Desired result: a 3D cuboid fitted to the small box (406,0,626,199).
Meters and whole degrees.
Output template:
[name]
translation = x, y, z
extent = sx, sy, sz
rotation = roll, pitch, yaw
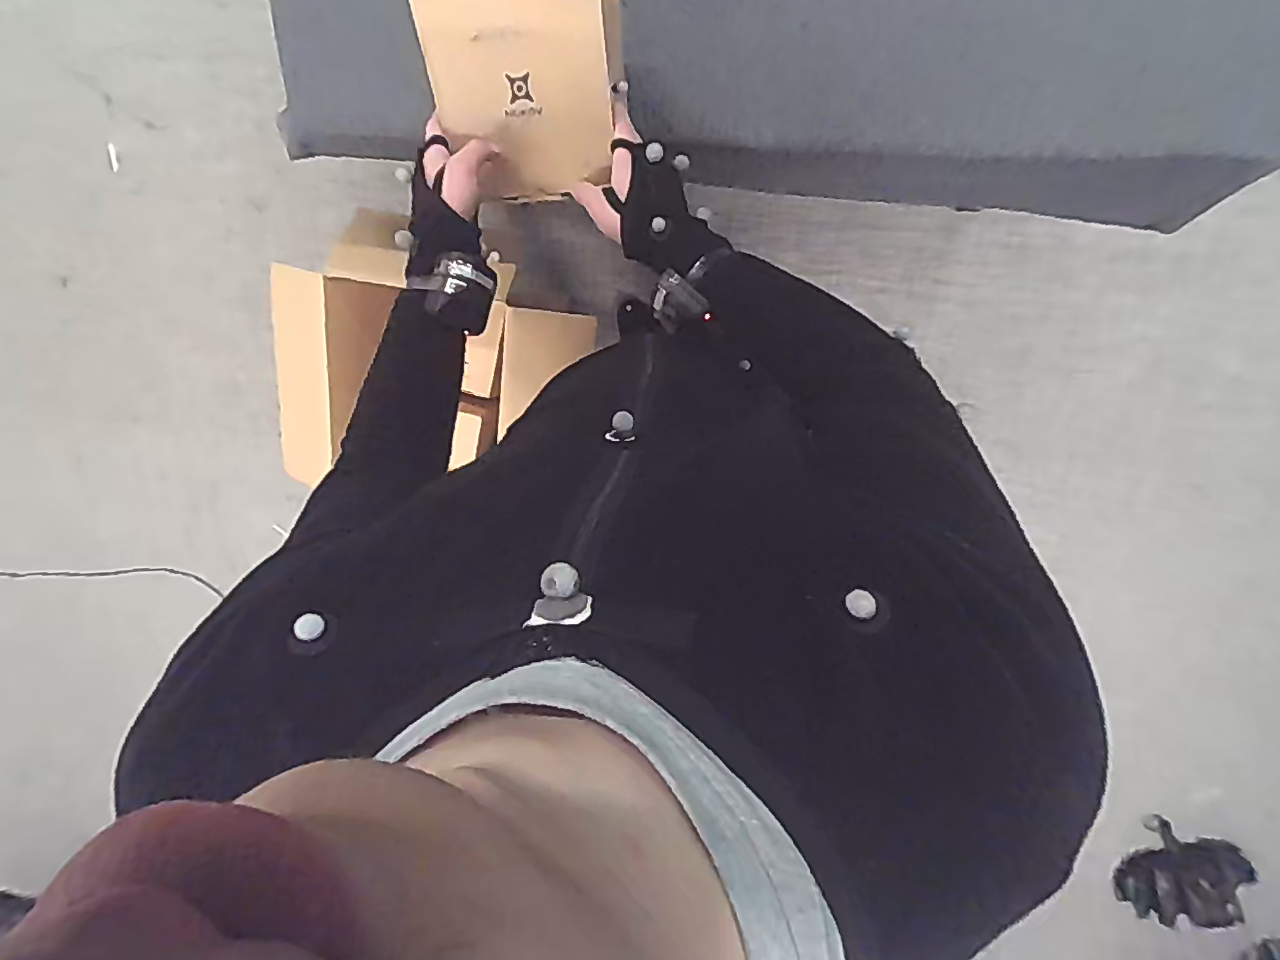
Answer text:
[small box]
translation = -0.107, -0.407, 0.554
extent = 0.168, 0.176, 0.179
rotation = -2, 127, 6
